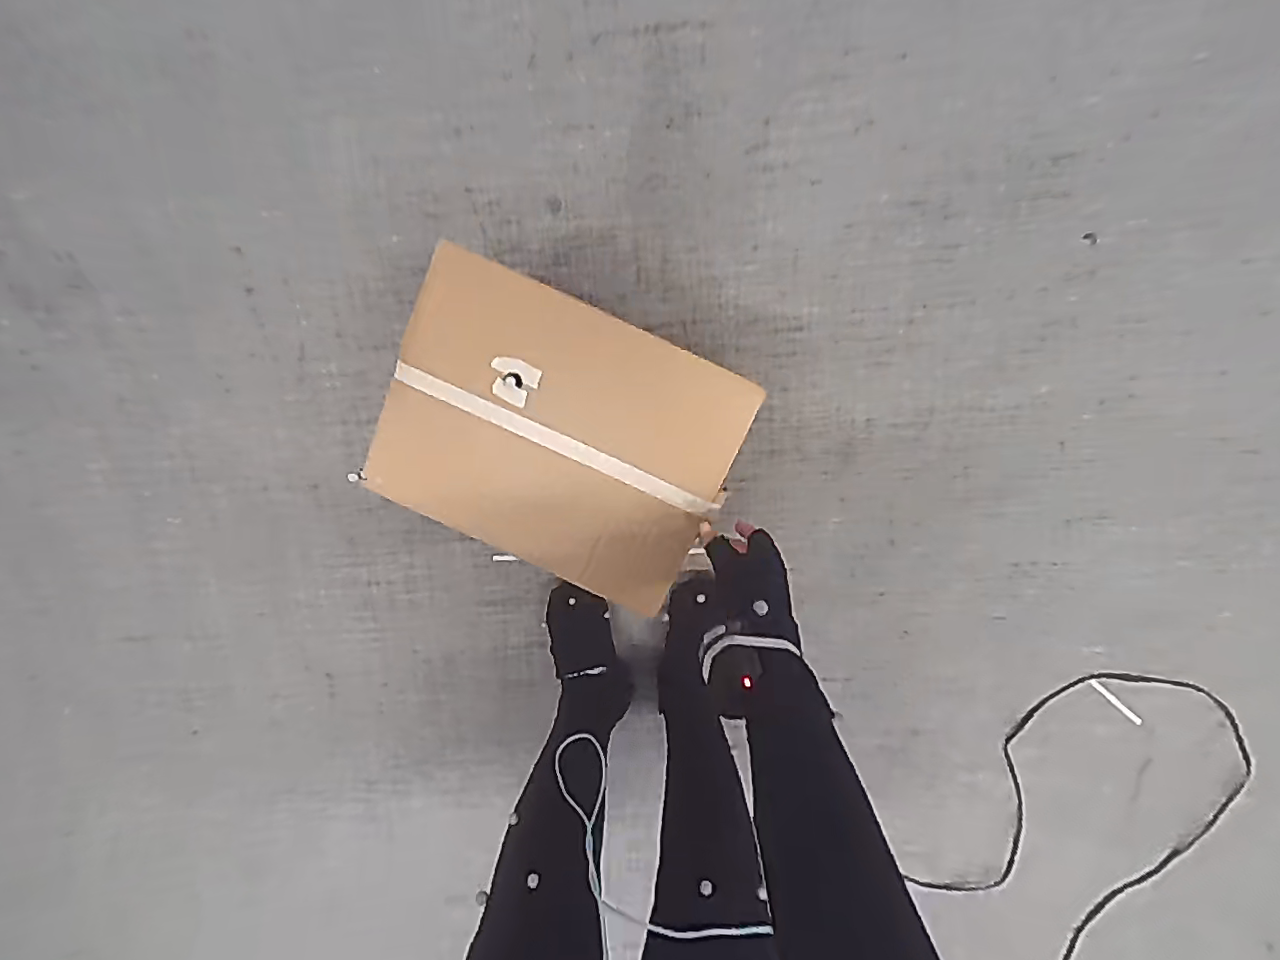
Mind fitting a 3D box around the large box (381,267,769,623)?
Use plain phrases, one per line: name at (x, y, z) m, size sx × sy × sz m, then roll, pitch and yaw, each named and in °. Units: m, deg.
large box at (-0.073, -0.061, 0.791) m, size 0.408 × 0.320 × 0.320 m, roll 24°, pitch 102°, yaw 1°
